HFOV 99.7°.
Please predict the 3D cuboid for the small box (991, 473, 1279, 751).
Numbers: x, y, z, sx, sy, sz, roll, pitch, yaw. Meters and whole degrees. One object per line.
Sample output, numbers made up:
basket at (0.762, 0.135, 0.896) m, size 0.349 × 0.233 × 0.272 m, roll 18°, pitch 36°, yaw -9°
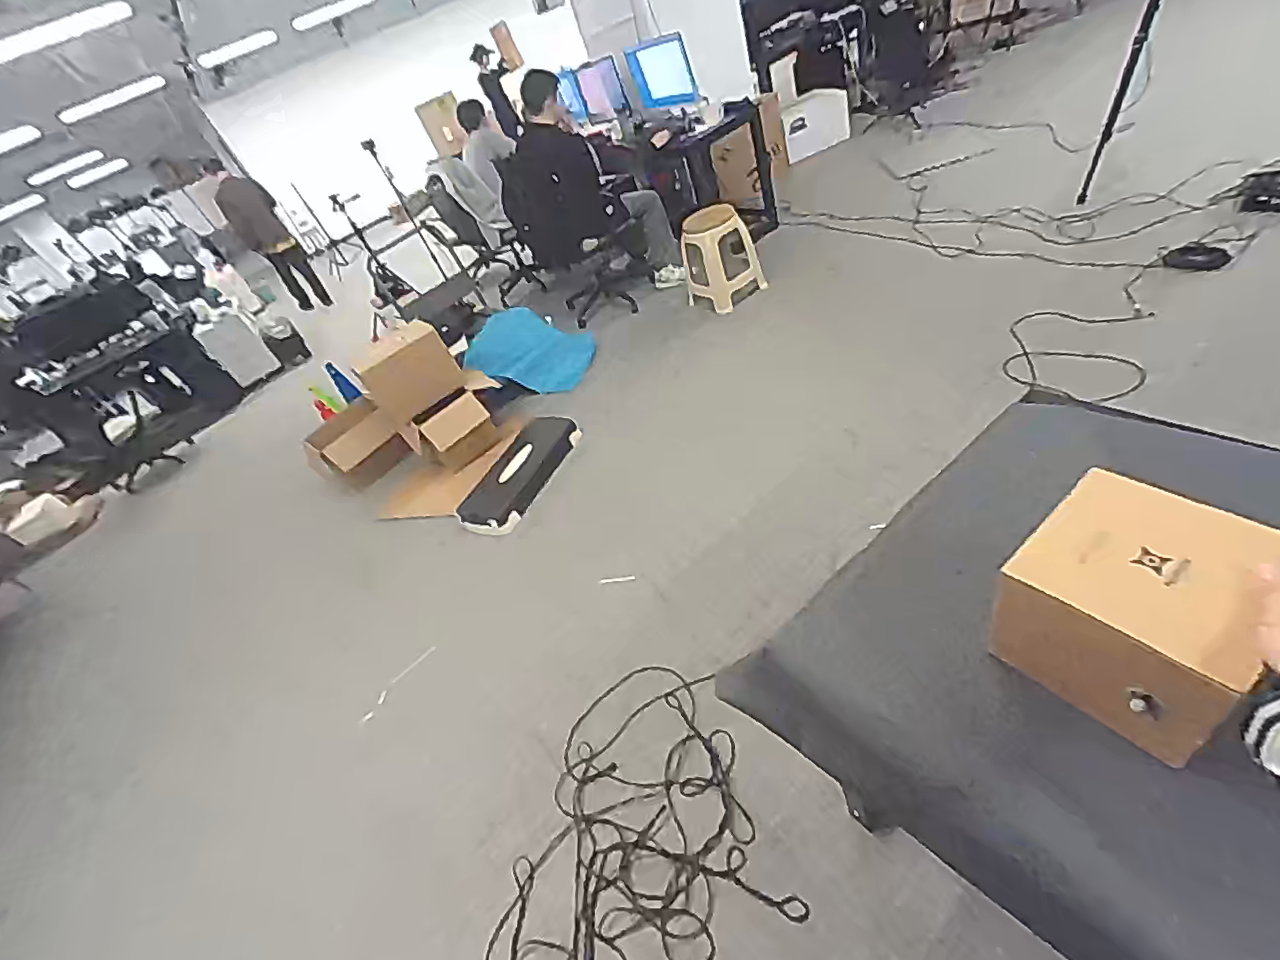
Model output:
small box at (0.480, 0.130, 0.526) m, size 0.168 × 0.176 × 0.179 m, roll -38°, pitch 42°, yaw -15°
